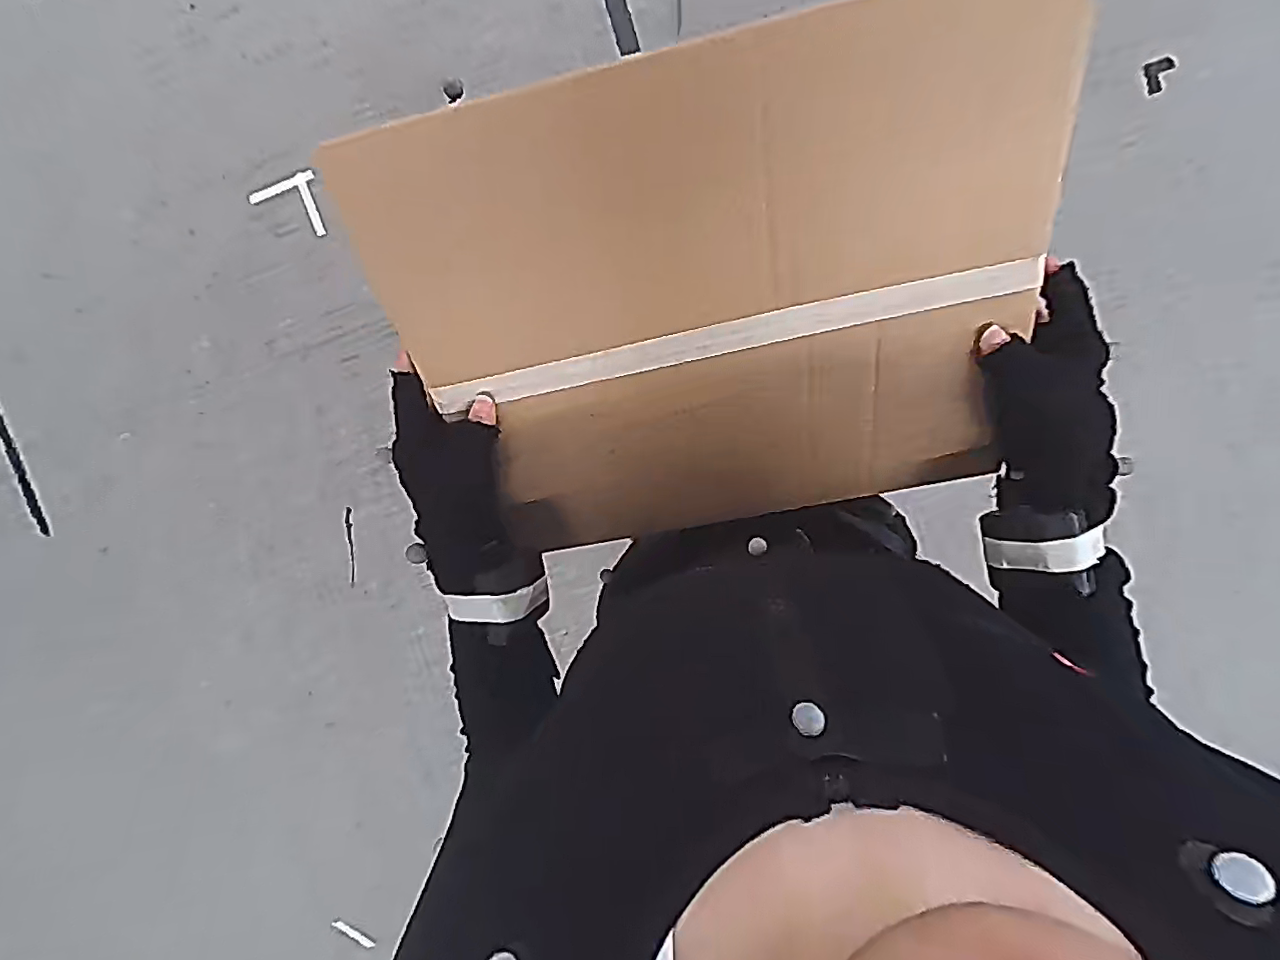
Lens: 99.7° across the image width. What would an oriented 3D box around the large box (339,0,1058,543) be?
[{"bbox_3d":[0.045,-0.188,0.492,0.408,0.320,0.320,-11,126,6],"label":"large box"}]
